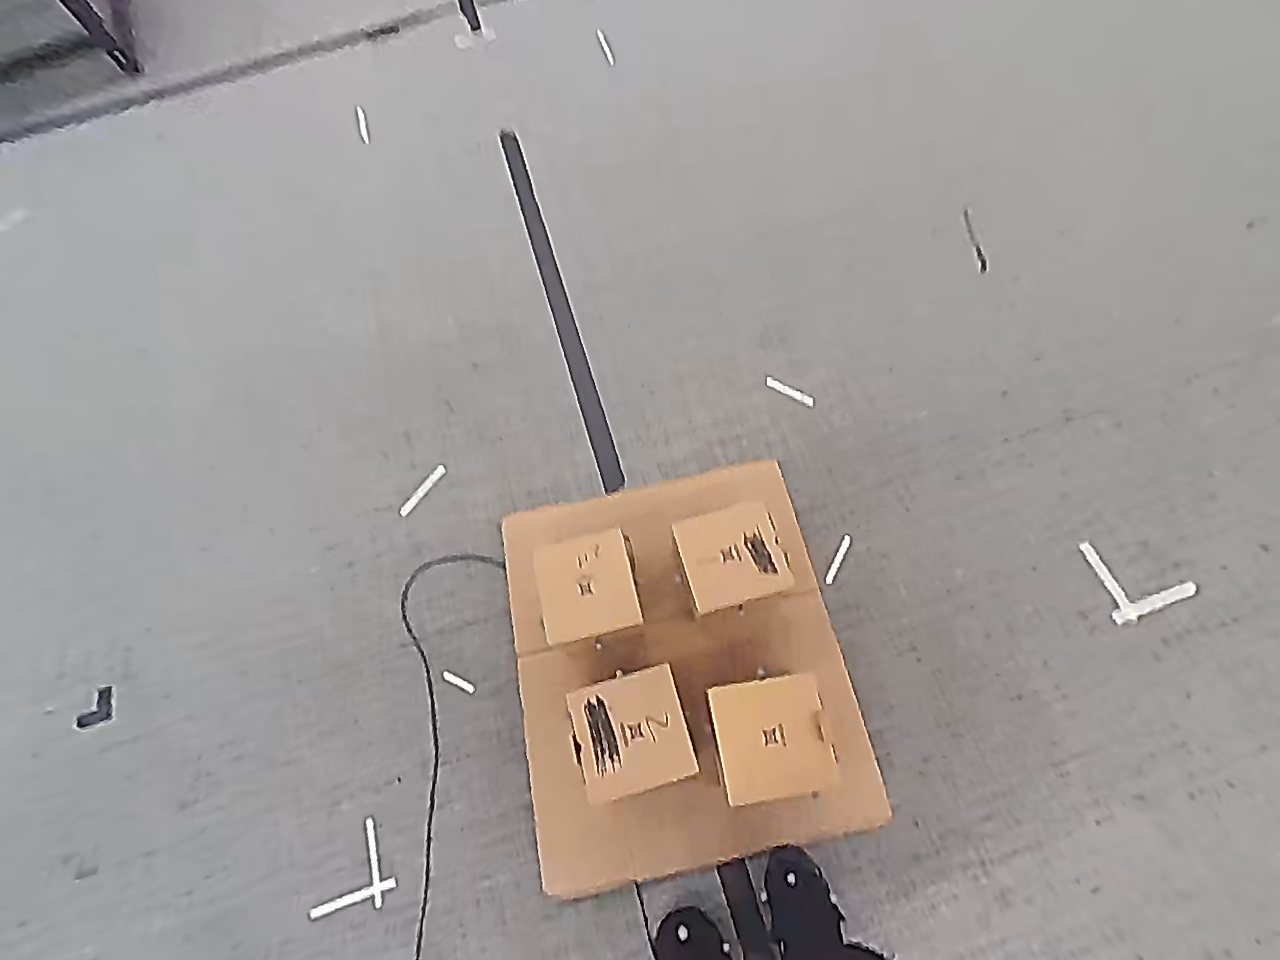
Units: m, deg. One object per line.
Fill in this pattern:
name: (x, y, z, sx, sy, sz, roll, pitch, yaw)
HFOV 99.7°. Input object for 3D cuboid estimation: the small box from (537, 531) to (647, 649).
small box: (-0.084, 0.214, 1.015, 0.168, 0.176, 0.179, -13, 68, -2)

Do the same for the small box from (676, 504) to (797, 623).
small box: (0.170, 0.162, 1.017, 0.179, 0.176, 0.168, -14, 69, -2)
